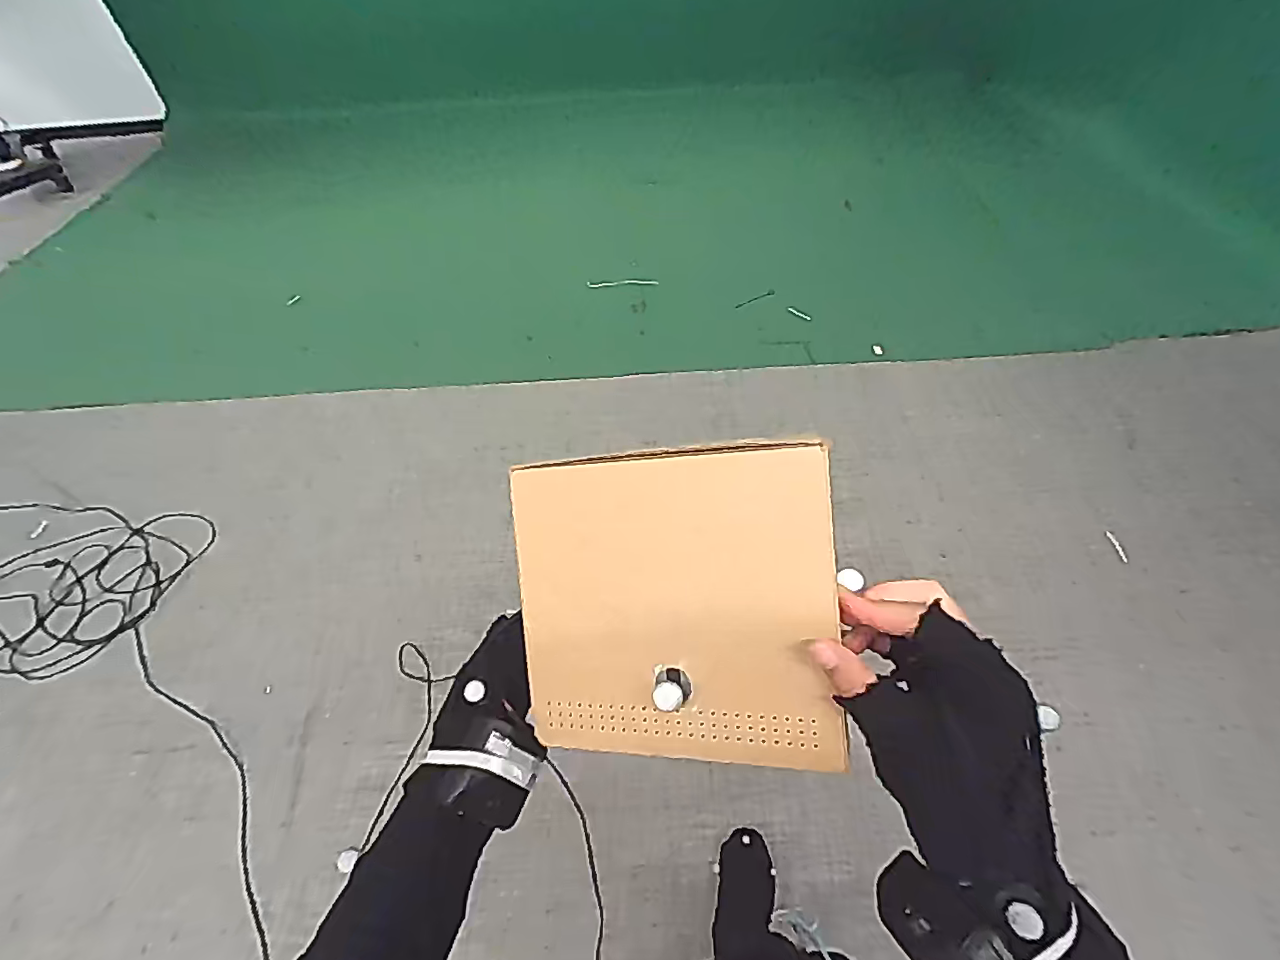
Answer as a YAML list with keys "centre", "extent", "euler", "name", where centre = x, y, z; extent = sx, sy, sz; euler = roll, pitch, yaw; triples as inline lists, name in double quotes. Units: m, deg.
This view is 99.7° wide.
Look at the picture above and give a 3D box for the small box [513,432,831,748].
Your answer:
- centre: [0.037, 0.060, 0.374]
  extent: [0.179, 0.168, 0.176]
  euler: [-4, 94, 18]
  name: "small box"
